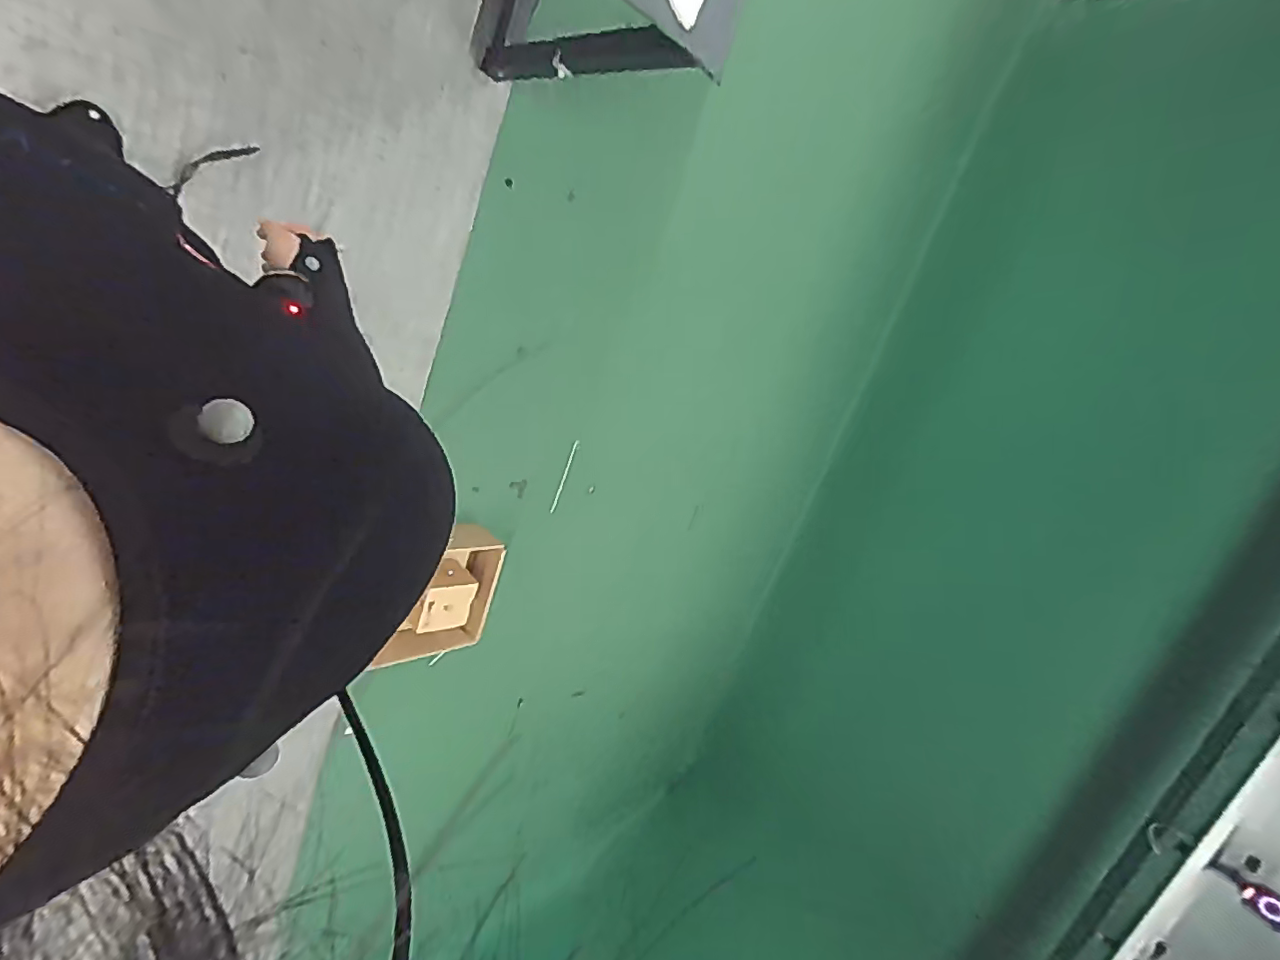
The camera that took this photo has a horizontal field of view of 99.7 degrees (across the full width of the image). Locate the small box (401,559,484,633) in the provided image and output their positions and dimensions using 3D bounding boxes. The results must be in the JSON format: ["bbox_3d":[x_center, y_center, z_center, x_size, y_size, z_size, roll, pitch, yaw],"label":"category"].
[{"bbox_3d":[-0.648,0.370,1.769,0.179,0.176,0.168,4,112,-49],"label":"small box"}]
